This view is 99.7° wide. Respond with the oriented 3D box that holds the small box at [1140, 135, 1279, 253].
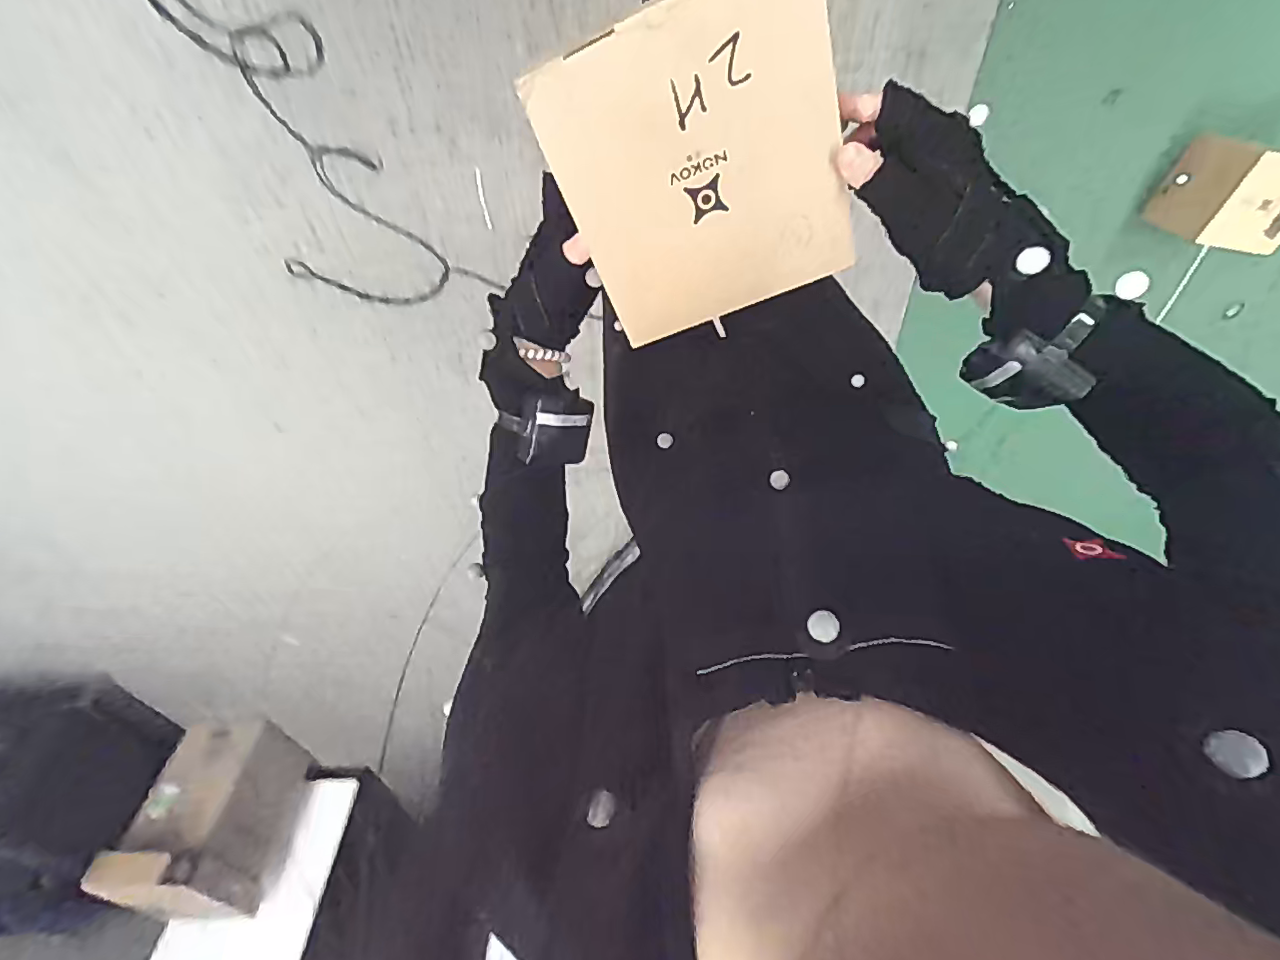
[{"bbox_3d":[1.204,-0.585,1.100,0.179,0.176,0.168,6,131,-5],"label":"small box"}]
